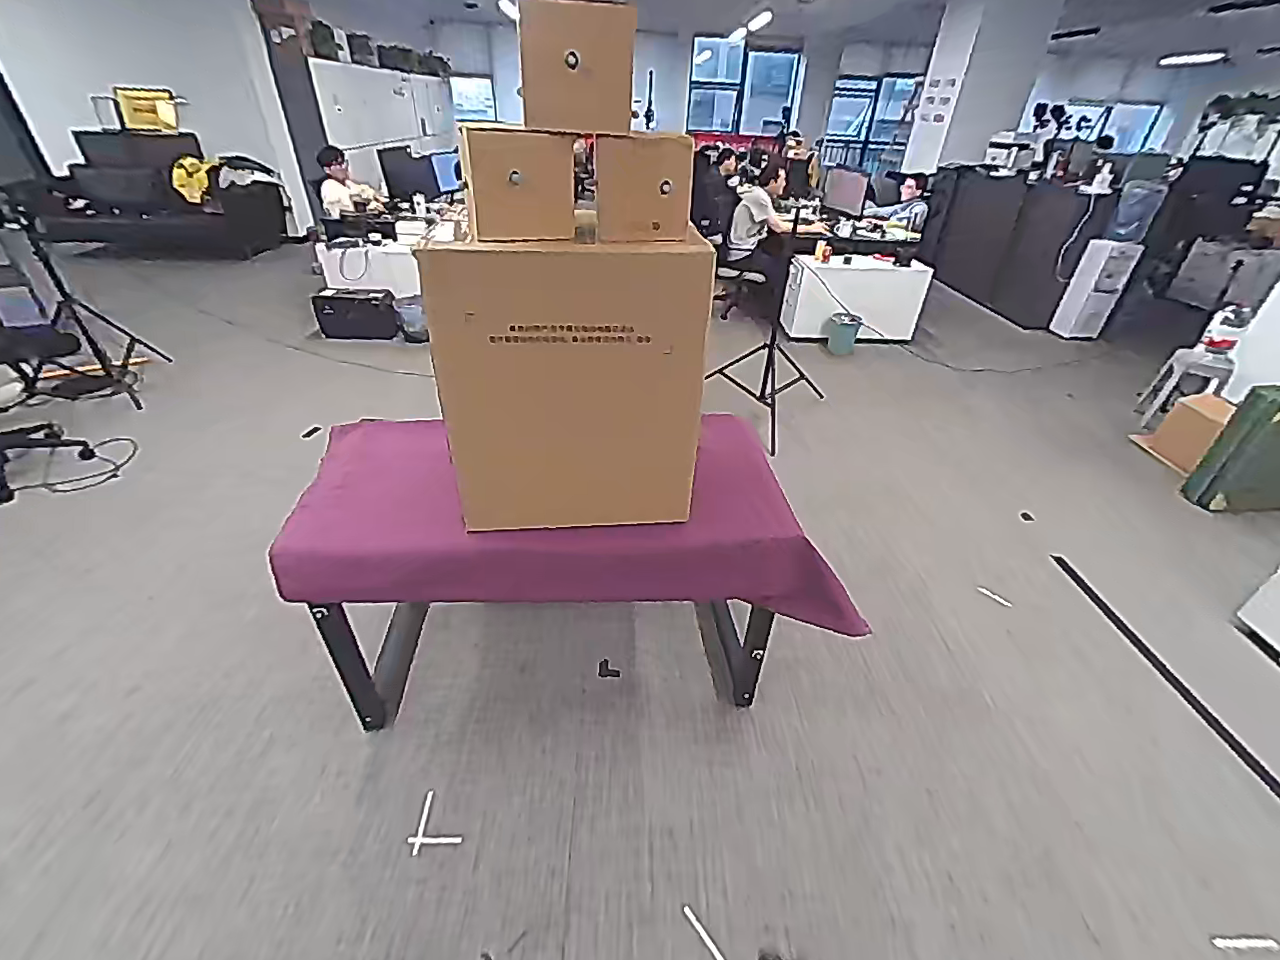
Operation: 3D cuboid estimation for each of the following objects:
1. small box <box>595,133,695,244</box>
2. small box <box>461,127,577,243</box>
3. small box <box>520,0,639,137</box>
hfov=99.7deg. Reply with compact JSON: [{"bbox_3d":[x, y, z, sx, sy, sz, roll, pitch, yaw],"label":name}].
[{"bbox_3d":[0.003,-0.548,1.015,0.168,0.176,0.179,-2,34,-7],"label":"small box"},{"bbox_3d":[-0.218,-0.534,0.980,0.179,0.176,0.168,-9,37,-19],"label":"small box"},{"bbox_3d":[-0.097,-0.673,0.899,0.179,0.176,0.168,0,35,-4],"label":"small box"}]
